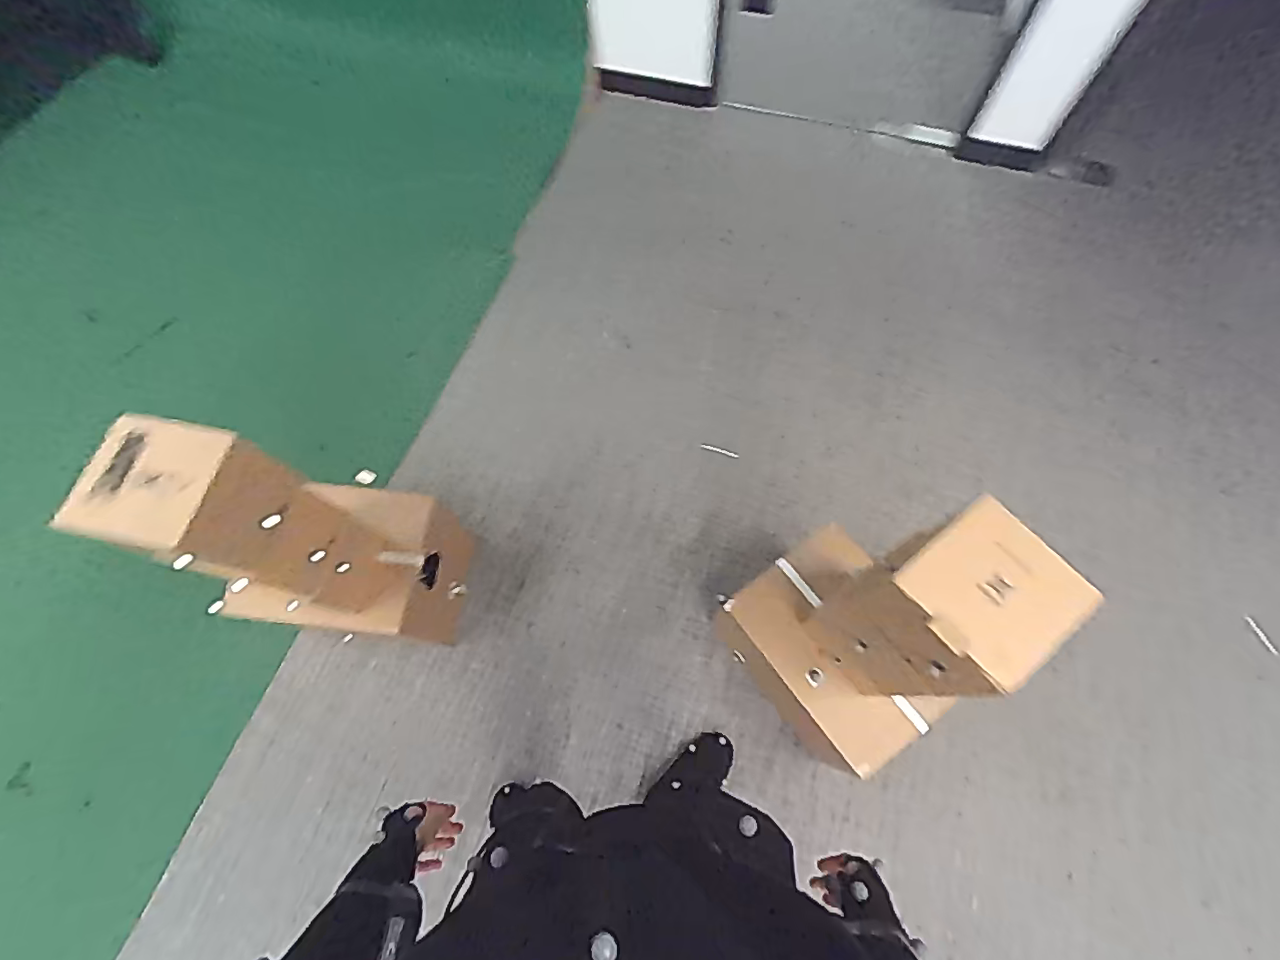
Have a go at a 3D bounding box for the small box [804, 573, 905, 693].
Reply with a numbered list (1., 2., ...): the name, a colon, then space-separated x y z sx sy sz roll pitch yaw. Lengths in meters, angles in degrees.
1. small box: 0.437 0.269 1.001 0.168 0.176 0.179 -37 72 -14

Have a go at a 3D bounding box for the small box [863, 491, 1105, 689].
1. small box: 0.417 0.150 0.696 0.179 0.176 0.168 -36 72 -13

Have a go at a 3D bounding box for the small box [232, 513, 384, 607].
1. small box: -0.648 0.146 1.082 0.168 0.176 0.179 11 69 5

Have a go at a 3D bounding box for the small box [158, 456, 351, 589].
1. small box: -0.647 0.080 0.934 0.179 0.176 0.168 12 69 6

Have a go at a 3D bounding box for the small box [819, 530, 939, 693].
1. small box: 0.415 0.210 0.848 0.168 0.176 0.179 -34 70 -12

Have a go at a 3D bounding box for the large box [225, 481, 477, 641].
1. large box: -0.663 0.207 1.323 0.408 0.320 0.320 5 67 5
